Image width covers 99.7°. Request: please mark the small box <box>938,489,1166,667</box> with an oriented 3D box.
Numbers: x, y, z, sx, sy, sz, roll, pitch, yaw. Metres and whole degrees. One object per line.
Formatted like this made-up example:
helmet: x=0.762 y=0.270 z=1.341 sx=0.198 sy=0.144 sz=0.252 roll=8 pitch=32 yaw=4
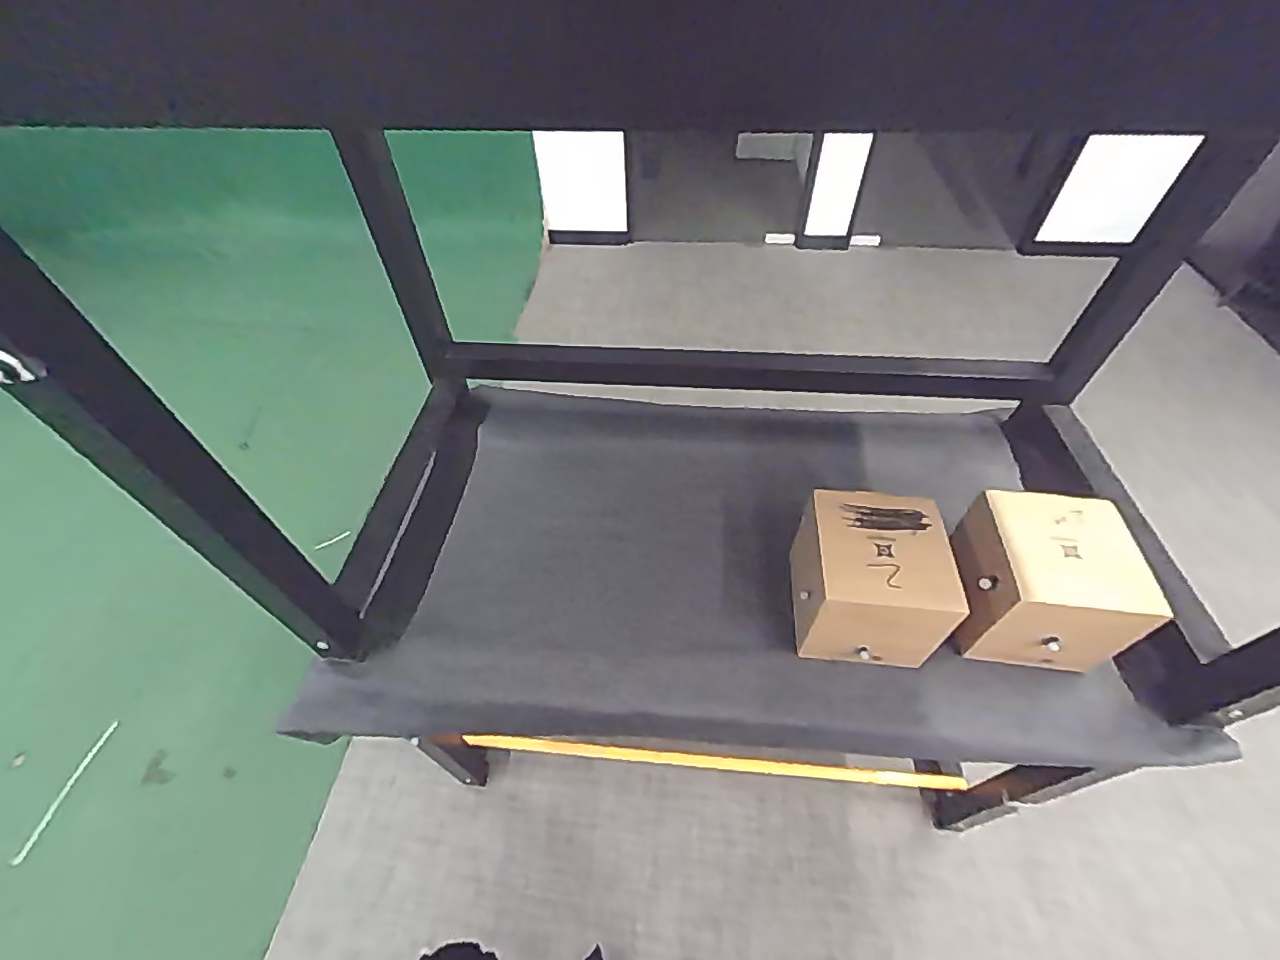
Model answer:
small box: x=0.541 y=0.138 z=0.744 sx=0.168 sy=0.176 sz=0.179 roll=6 pitch=49 yaw=6
